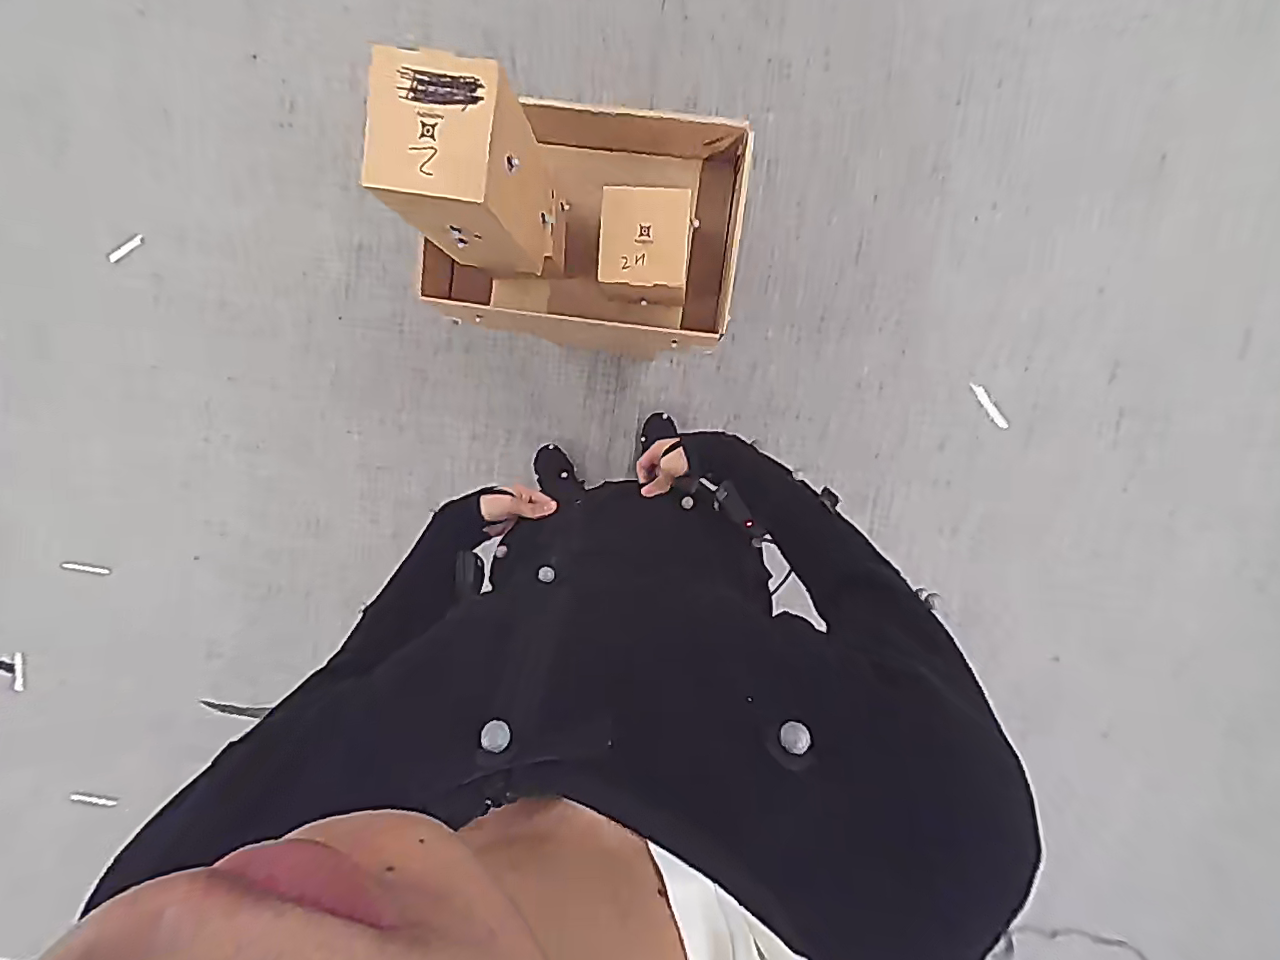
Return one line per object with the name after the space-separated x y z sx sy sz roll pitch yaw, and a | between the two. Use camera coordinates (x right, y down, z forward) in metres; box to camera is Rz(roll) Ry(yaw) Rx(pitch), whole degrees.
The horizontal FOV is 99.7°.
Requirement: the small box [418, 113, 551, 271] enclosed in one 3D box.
-0.256 -0.481 0.926 0.168 0.176 0.179 8 95 2 | small box
